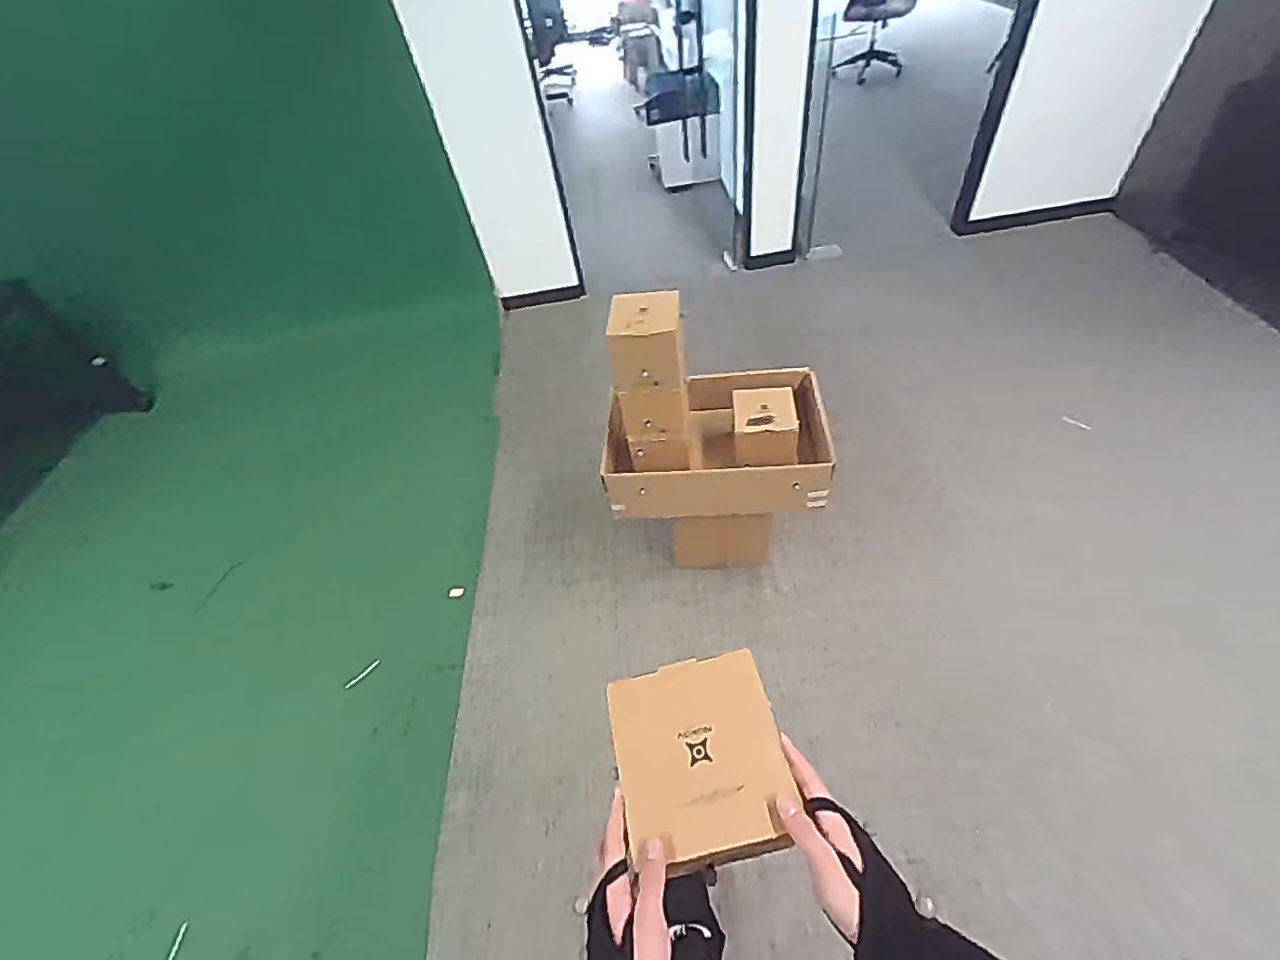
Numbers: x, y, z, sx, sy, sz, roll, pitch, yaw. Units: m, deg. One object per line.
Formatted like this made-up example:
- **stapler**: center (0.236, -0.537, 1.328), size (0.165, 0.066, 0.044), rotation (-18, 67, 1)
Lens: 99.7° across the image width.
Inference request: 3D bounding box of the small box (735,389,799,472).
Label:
- **small box**: center (0.358, -0.136, 1.544), size (0.168, 0.176, 0.179), rotation (-1, 49, 8)

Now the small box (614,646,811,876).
- **small box**: center (0.073, 0.314, 0.601), size (0.168, 0.176, 0.179), rotation (-13, 50, 0)

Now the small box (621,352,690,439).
- **small box**: center (0.047, -0.229, 1.464), size (0.168, 0.176, 0.179), rotation (-1, 49, 8)

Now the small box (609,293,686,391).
- **small box**: center (0.026, -0.340, 1.343), size (0.168, 0.176, 0.179), rotation (-1, 50, 9)
